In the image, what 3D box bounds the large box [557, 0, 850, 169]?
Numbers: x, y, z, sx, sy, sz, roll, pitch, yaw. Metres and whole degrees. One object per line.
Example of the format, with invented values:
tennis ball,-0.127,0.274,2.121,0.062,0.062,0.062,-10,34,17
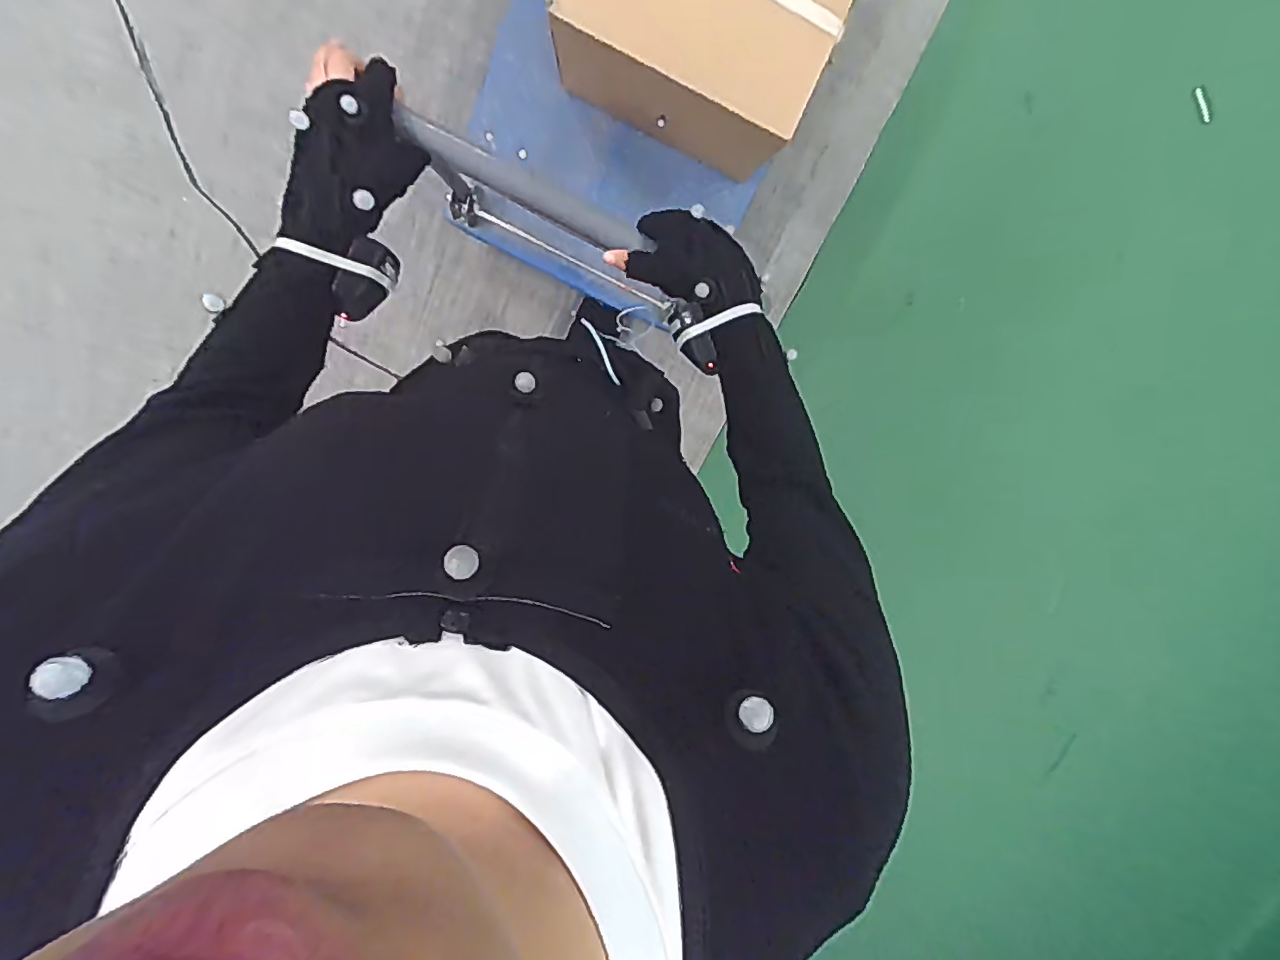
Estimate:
large box,0.112,-0.798,0.923,0.408,0.320,0.320,21,106,-9
